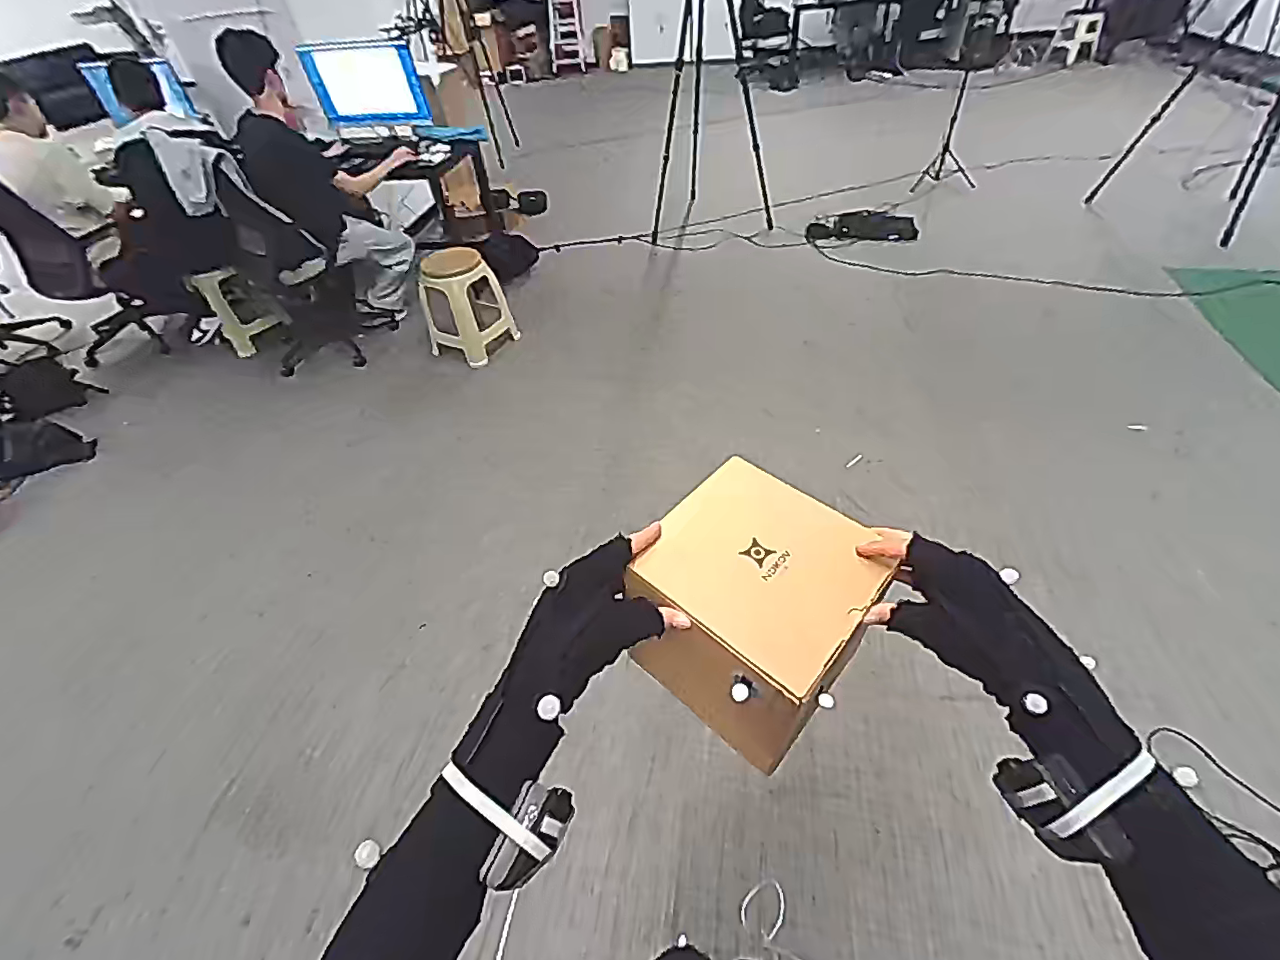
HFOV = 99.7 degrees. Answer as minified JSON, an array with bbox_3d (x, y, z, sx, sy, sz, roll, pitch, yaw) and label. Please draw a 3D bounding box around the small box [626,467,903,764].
[{"bbox_3d":[0.102,0.125,0.508,0.179,0.176,0.168,35,55,28],"label":"small box"}]
